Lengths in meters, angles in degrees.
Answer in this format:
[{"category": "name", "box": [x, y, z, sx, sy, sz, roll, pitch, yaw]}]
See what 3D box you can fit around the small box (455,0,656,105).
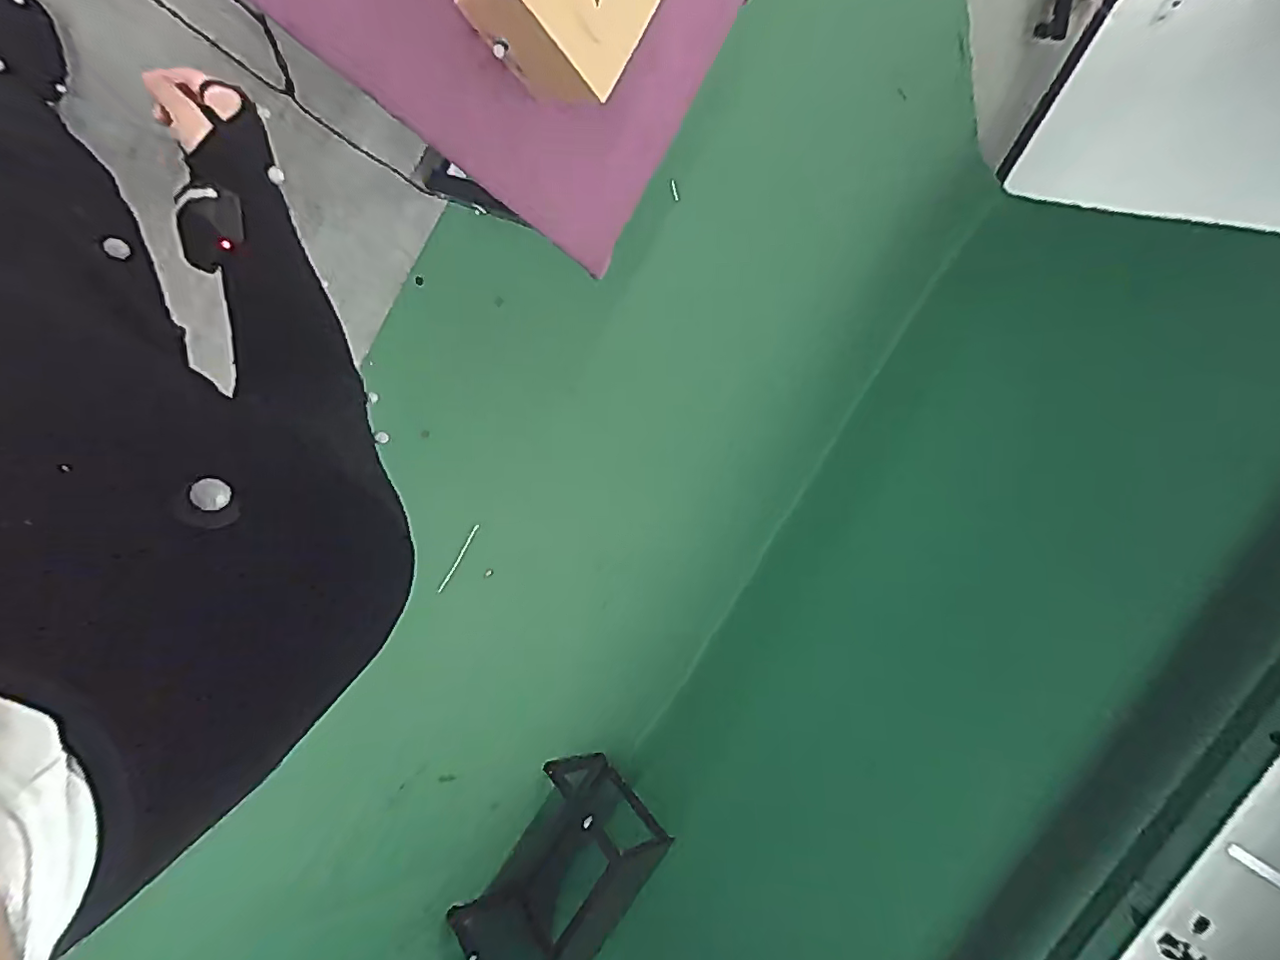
[{"category": "small box", "box": [-0.113, -0.638, 0.713, 0.168, 0.176, 0.179, 26, 97, -51]}]
